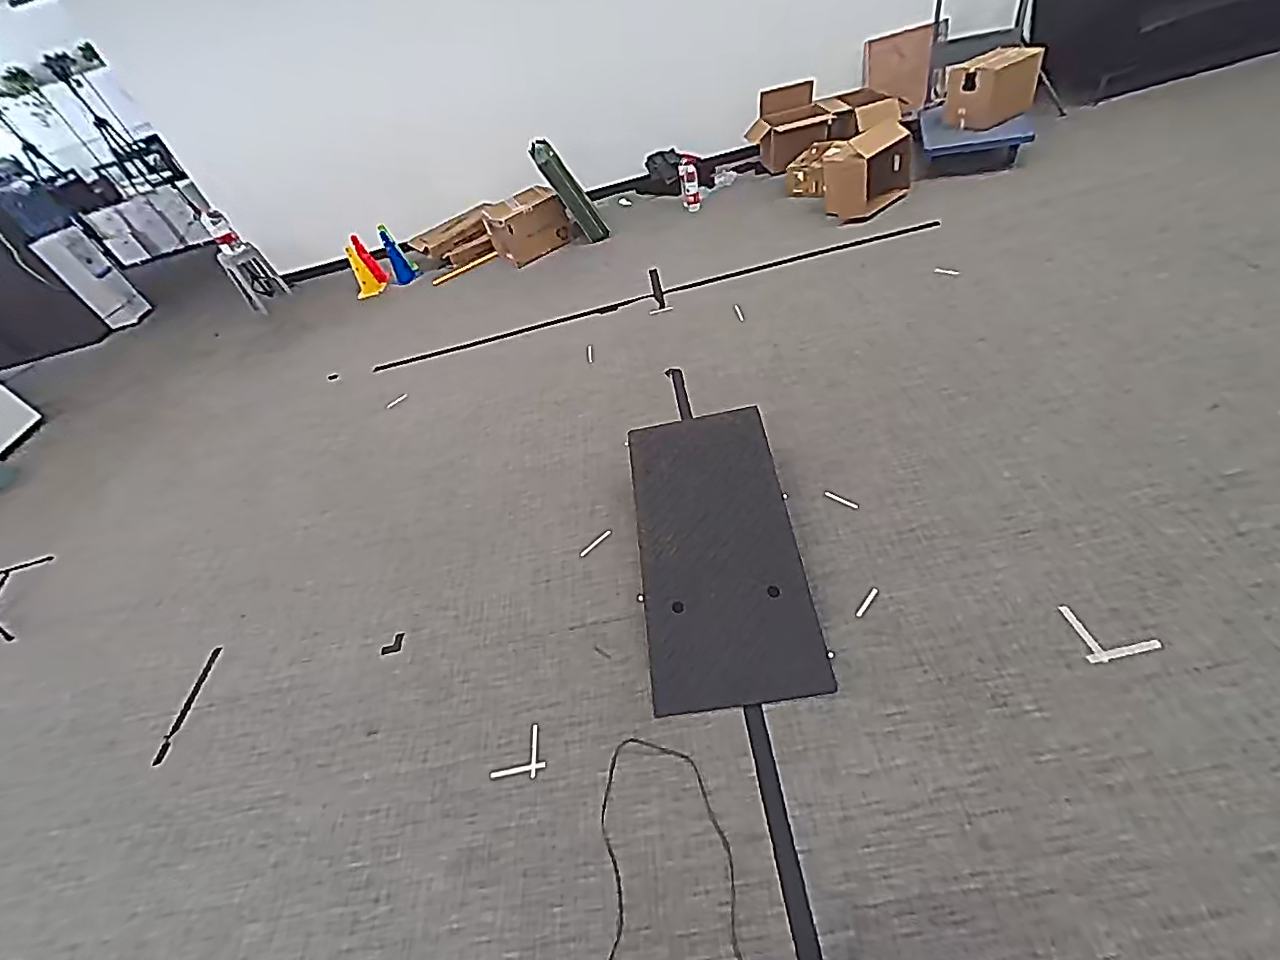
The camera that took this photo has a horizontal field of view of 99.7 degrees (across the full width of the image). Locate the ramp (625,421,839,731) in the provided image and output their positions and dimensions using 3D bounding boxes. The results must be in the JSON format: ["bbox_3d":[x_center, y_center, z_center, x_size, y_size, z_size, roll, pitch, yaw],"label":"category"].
[{"bbox_3d":[0.239,0.233,1.733,0.509,0.206,0.991,-13,43,4],"label":"ramp"}]
